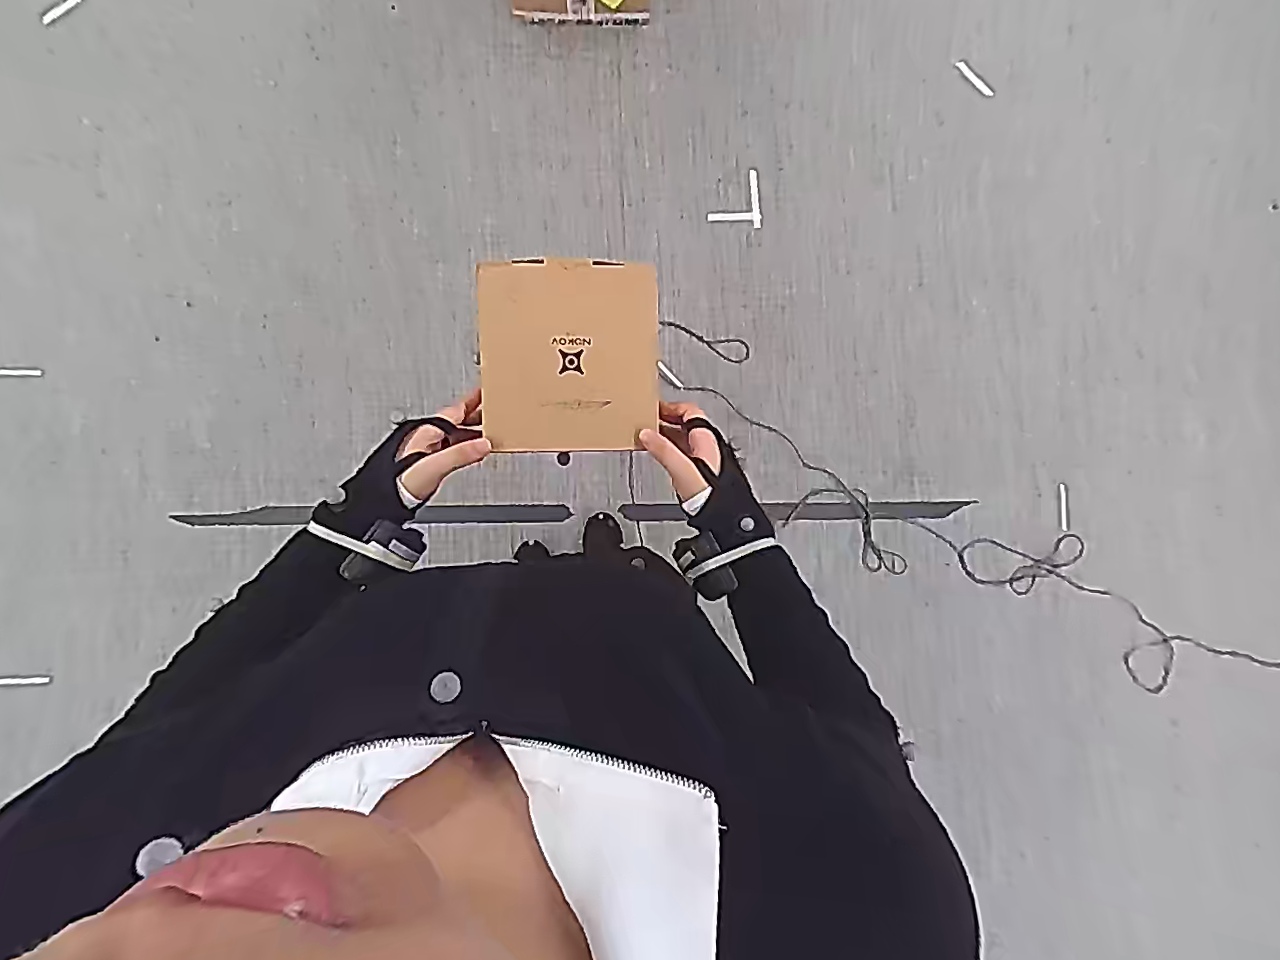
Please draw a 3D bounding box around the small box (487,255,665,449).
[{"bbox_3d":[-0.067,-0.122,0.579,0.168,0.176,0.179,-1,95,-6],"label":"small box"}]
